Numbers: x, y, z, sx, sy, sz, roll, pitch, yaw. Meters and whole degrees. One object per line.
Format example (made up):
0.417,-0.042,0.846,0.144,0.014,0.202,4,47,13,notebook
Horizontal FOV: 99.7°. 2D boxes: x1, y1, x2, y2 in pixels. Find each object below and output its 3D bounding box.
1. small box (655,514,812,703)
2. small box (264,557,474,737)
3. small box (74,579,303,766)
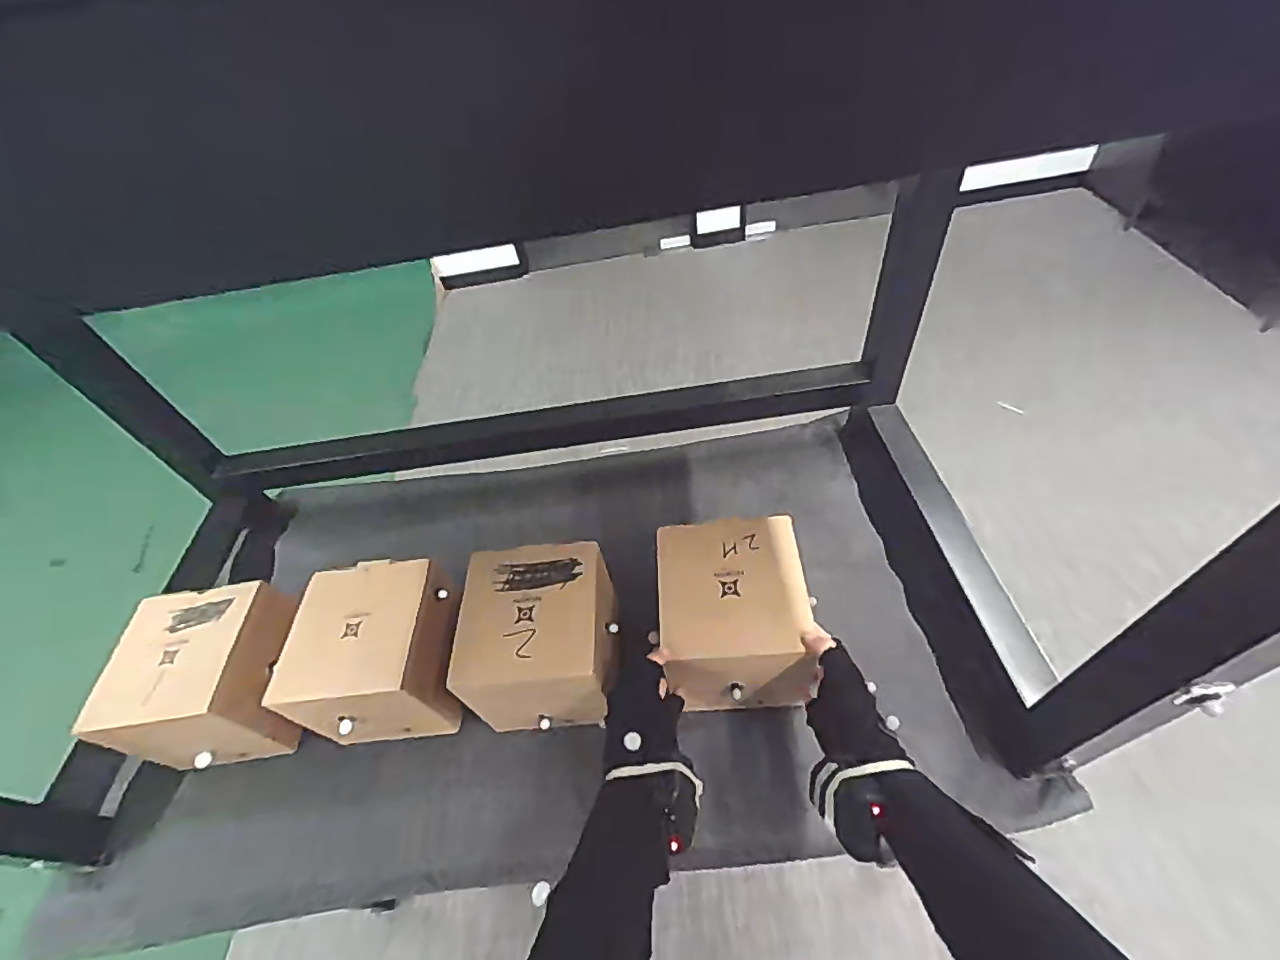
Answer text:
0.112,0.167,0.673,0.168,0.176,0.179,-6,48,7,small box
-0.336,0.227,0.715,0.168,0.176,0.179,-7,48,4,small box
-0.560,0.259,0.725,0.168,0.176,0.179,-9,49,2,small box
